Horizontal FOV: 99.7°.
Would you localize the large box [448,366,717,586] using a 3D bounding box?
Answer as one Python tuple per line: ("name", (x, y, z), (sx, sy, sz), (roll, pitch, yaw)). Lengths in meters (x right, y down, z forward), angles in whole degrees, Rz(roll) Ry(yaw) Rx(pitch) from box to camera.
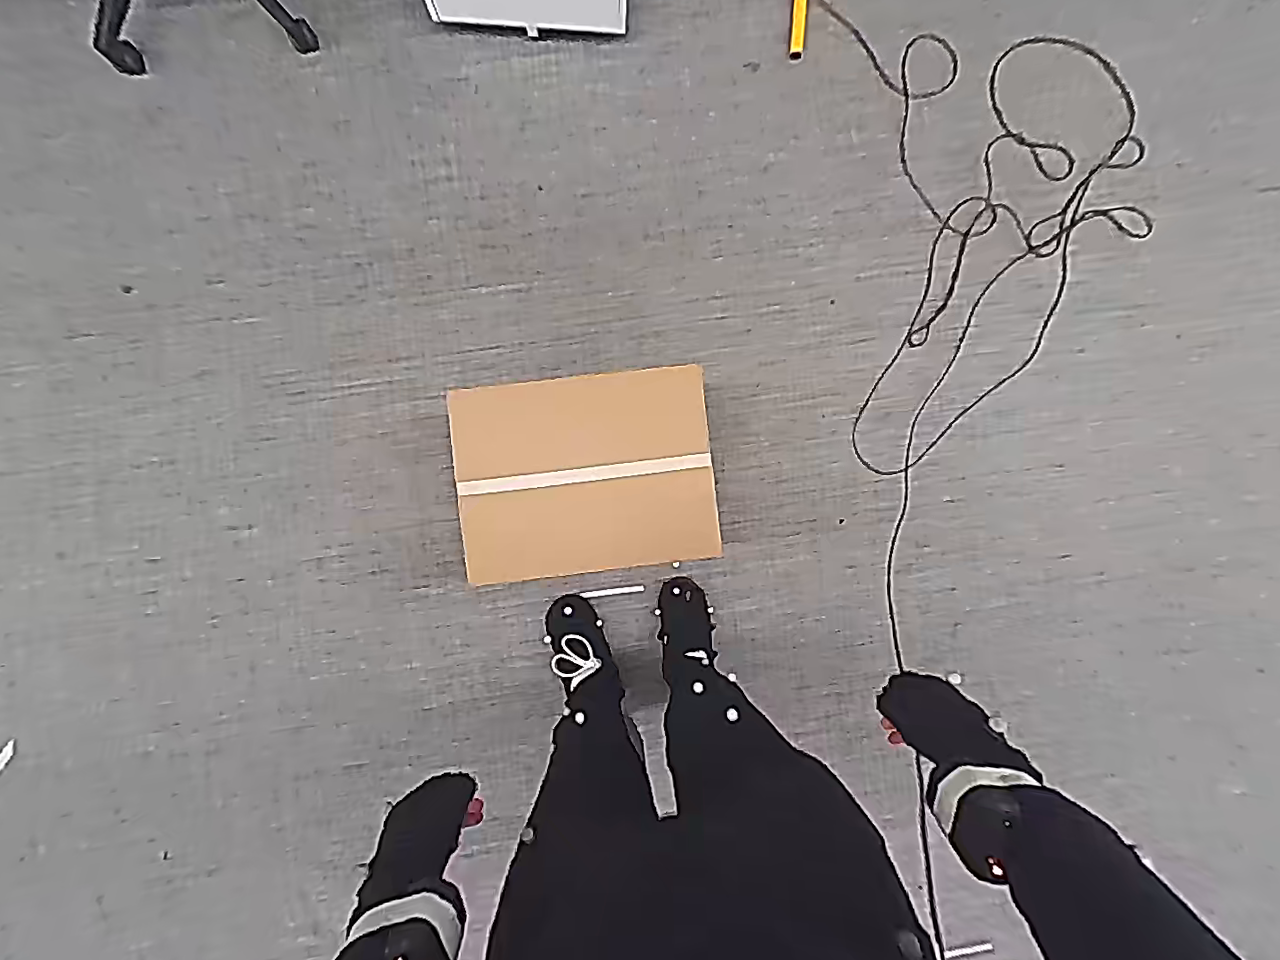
("large box", (-0.095, -0.007, 1.010), (0.408, 0.320, 0.320), (-6, 89, -2))
